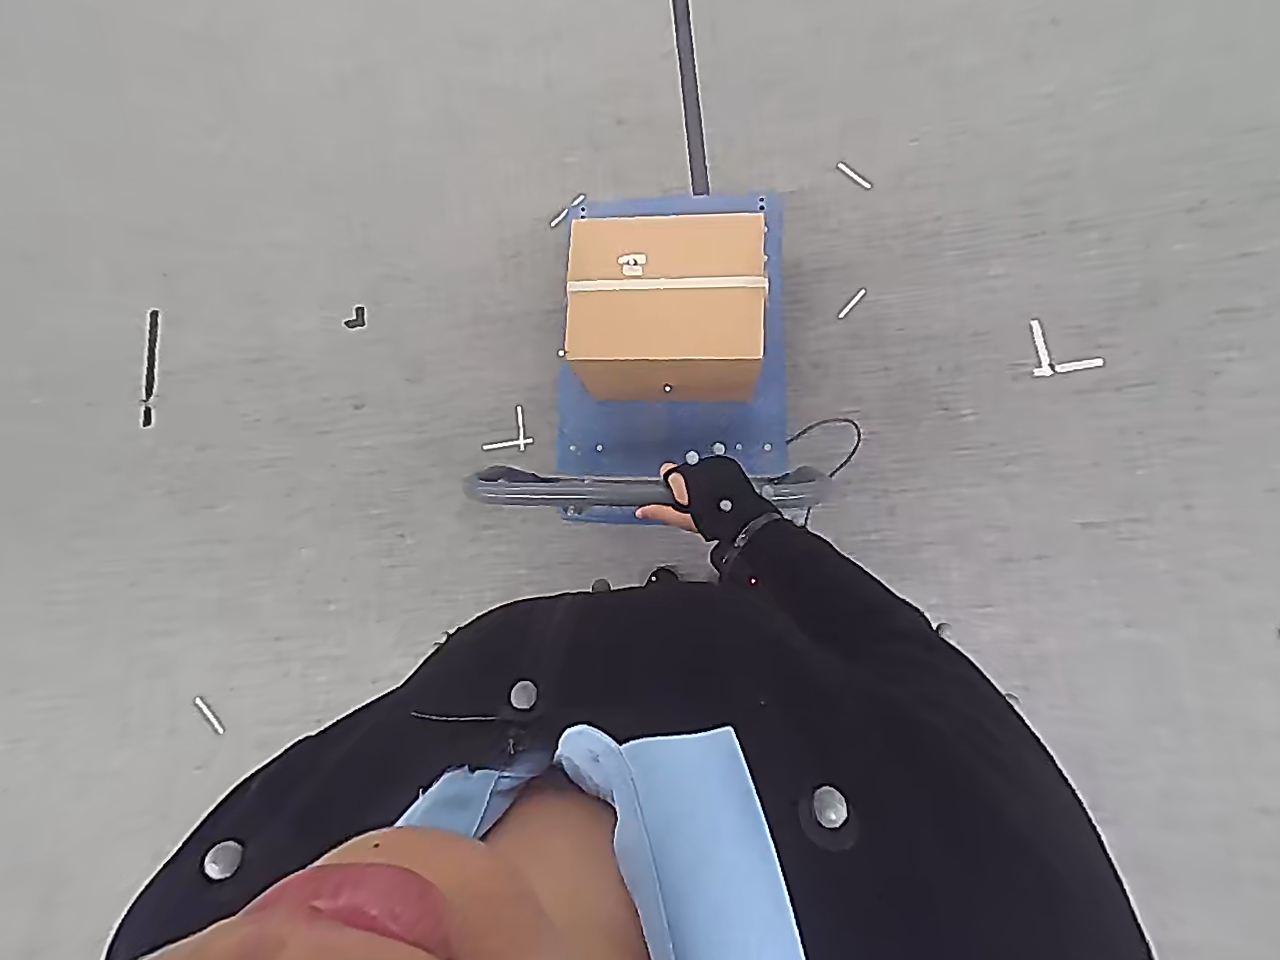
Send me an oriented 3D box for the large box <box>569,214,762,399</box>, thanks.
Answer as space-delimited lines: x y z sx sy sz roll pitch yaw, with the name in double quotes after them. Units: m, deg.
0.071 -0.379 1.269 0.408 0.320 0.320 0 82 8 "large box"
